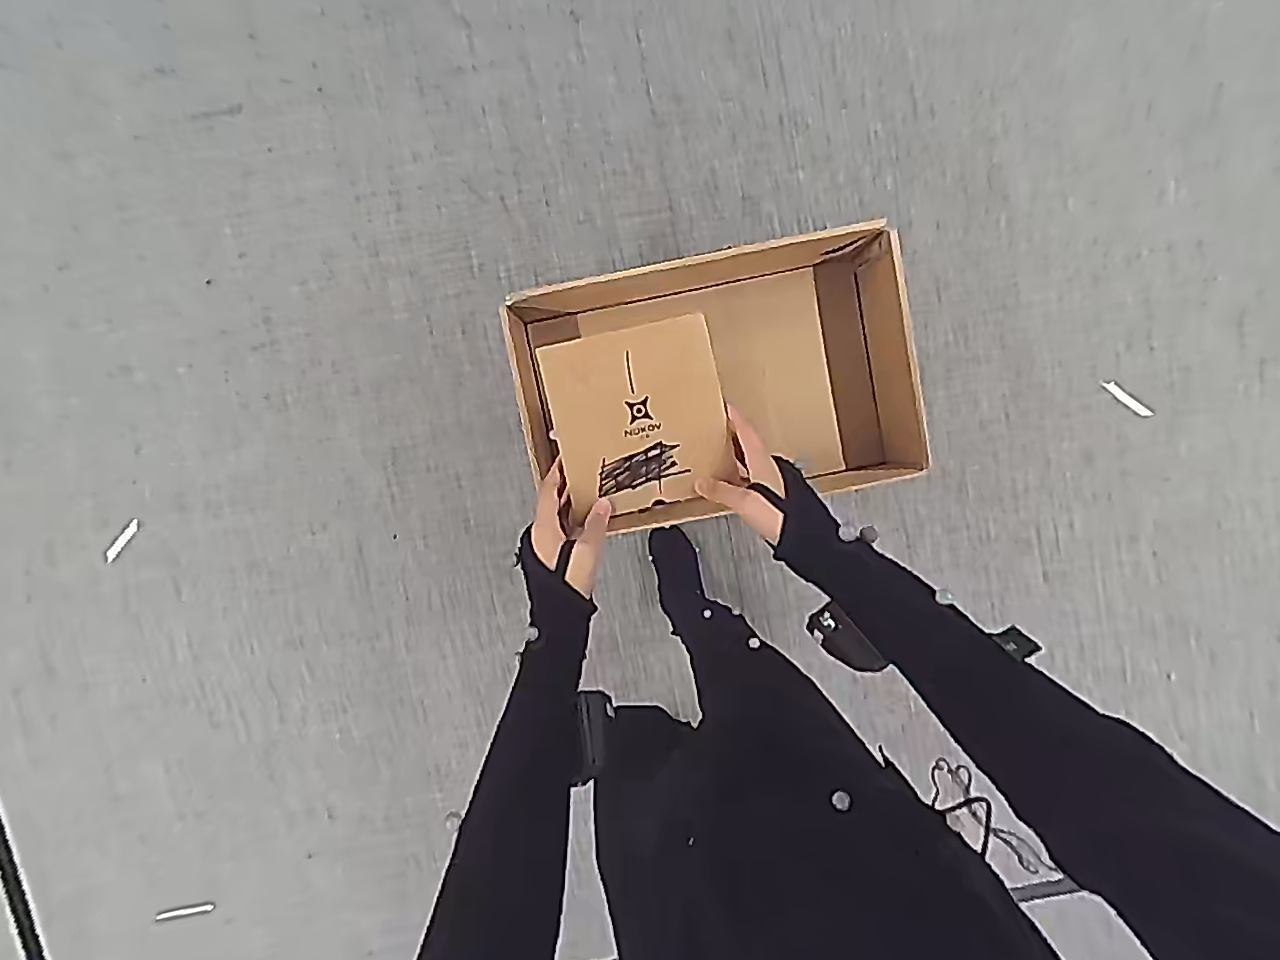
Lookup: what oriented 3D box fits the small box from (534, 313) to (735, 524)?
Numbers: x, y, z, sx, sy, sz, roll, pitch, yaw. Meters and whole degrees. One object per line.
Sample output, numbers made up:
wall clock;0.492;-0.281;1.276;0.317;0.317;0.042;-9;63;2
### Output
small box;-0.004;-0.063;0.597;0.168;0.176;0.179;-13;93;0
